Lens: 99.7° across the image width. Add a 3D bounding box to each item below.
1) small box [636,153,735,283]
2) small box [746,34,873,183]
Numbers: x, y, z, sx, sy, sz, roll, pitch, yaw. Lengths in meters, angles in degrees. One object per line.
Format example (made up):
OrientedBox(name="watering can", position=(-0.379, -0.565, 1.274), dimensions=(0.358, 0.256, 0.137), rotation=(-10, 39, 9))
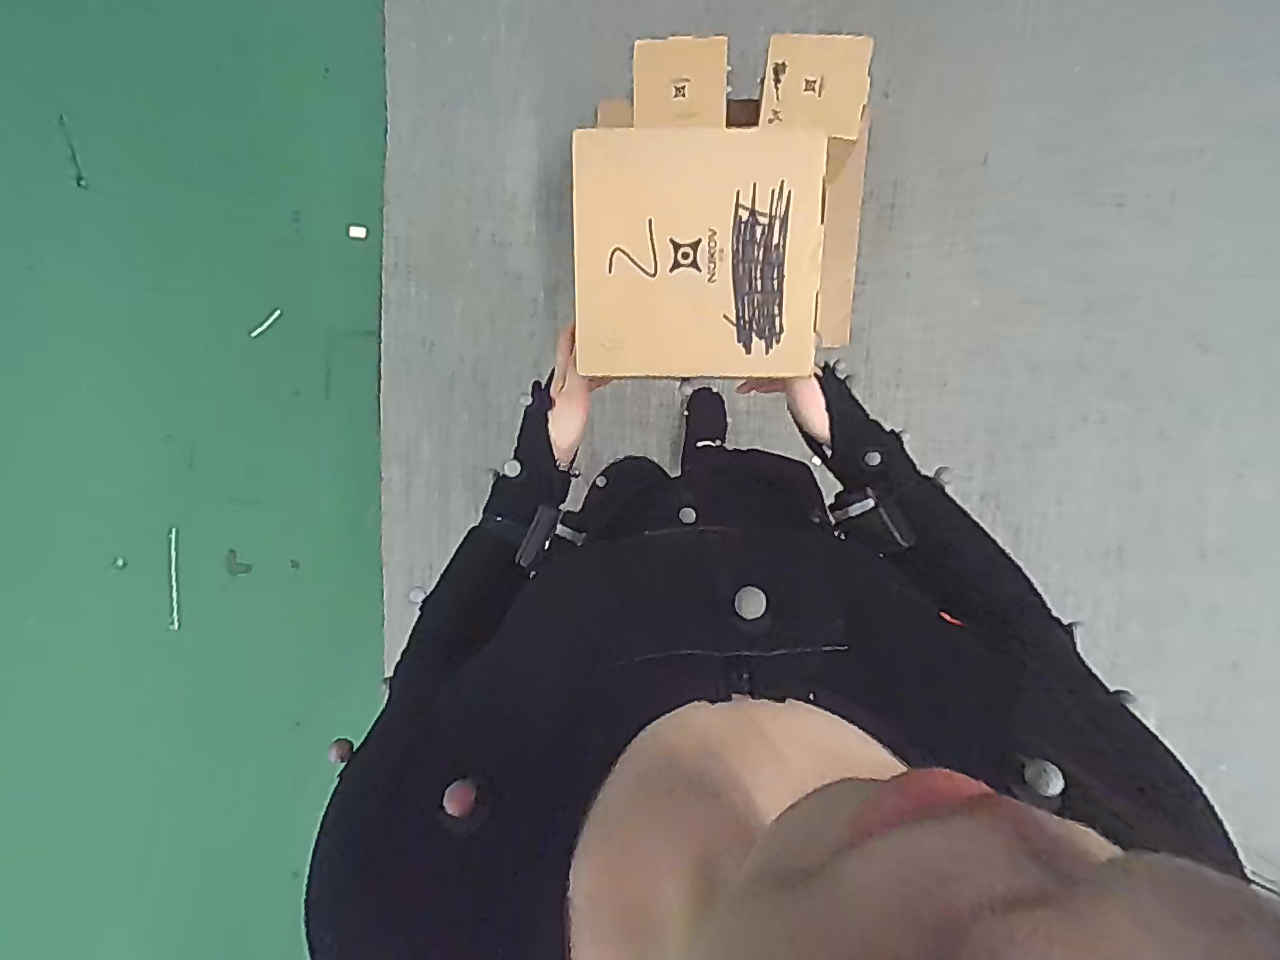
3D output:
OrientedBox(name="small box", position=(0.083, -0.494, 1.040), dimensions=(0.168, 0.176, 0.179), rotation=(4, 97, 3))
OrientedBox(name="small box", position=(0.304, -0.676, 1.005), dimensions=(0.179, 0.176, 0.168), rotation=(8, 96, 4))
